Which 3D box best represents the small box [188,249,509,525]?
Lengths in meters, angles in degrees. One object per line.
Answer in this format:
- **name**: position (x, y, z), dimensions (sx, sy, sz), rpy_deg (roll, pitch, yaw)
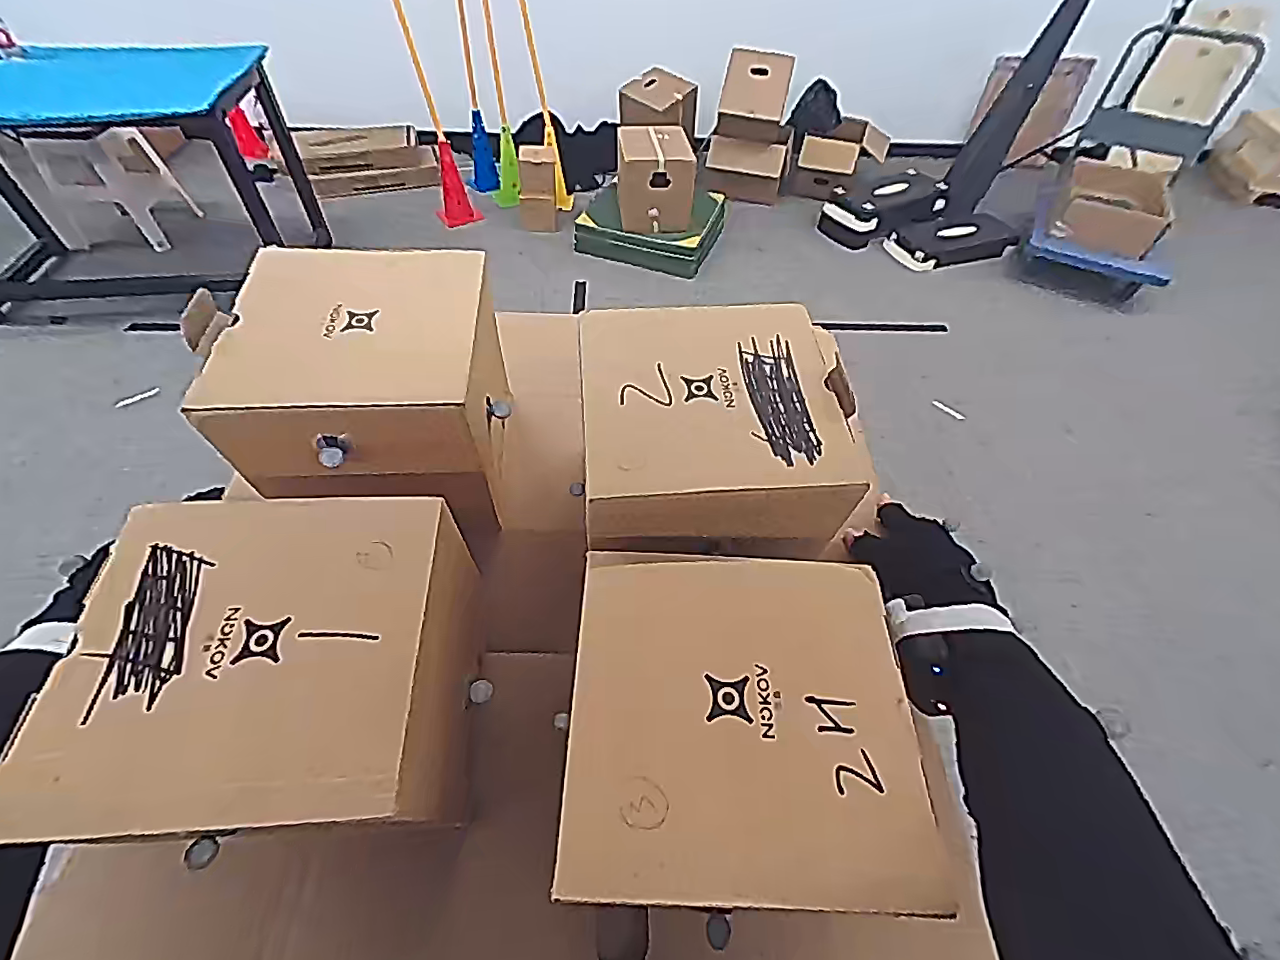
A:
- **small box**: position (-0.213, -0.072, 0.462), dimensions (0.179, 0.176, 0.168), rpy_deg (-2, 56, -4)
